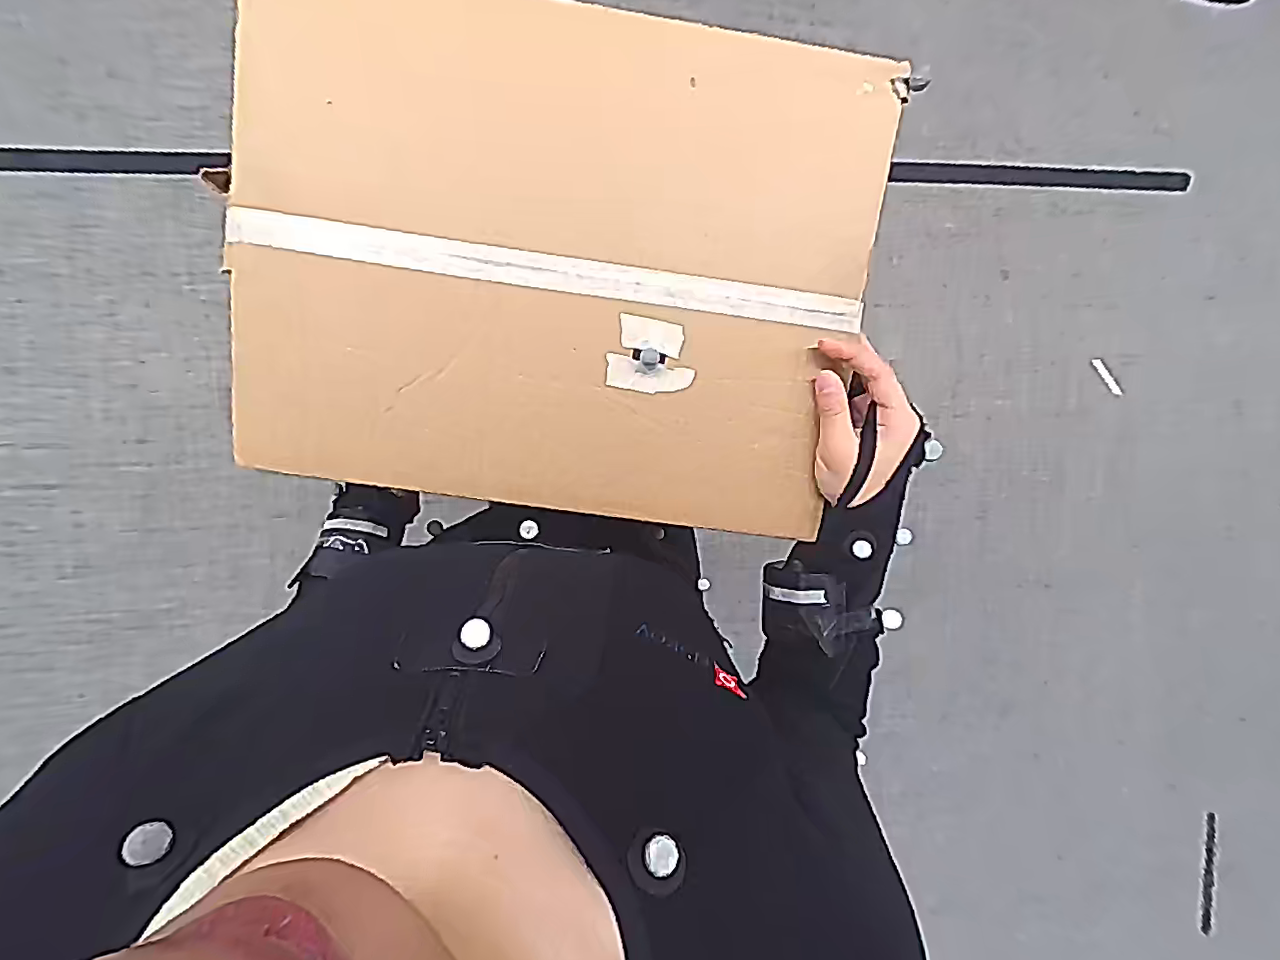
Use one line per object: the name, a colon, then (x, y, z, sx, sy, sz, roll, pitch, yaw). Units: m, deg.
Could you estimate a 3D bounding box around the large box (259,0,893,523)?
large box: (-0.056, -0.161, 0.508, 0.408, 0.320, 0.320, 7, 100, -4)
